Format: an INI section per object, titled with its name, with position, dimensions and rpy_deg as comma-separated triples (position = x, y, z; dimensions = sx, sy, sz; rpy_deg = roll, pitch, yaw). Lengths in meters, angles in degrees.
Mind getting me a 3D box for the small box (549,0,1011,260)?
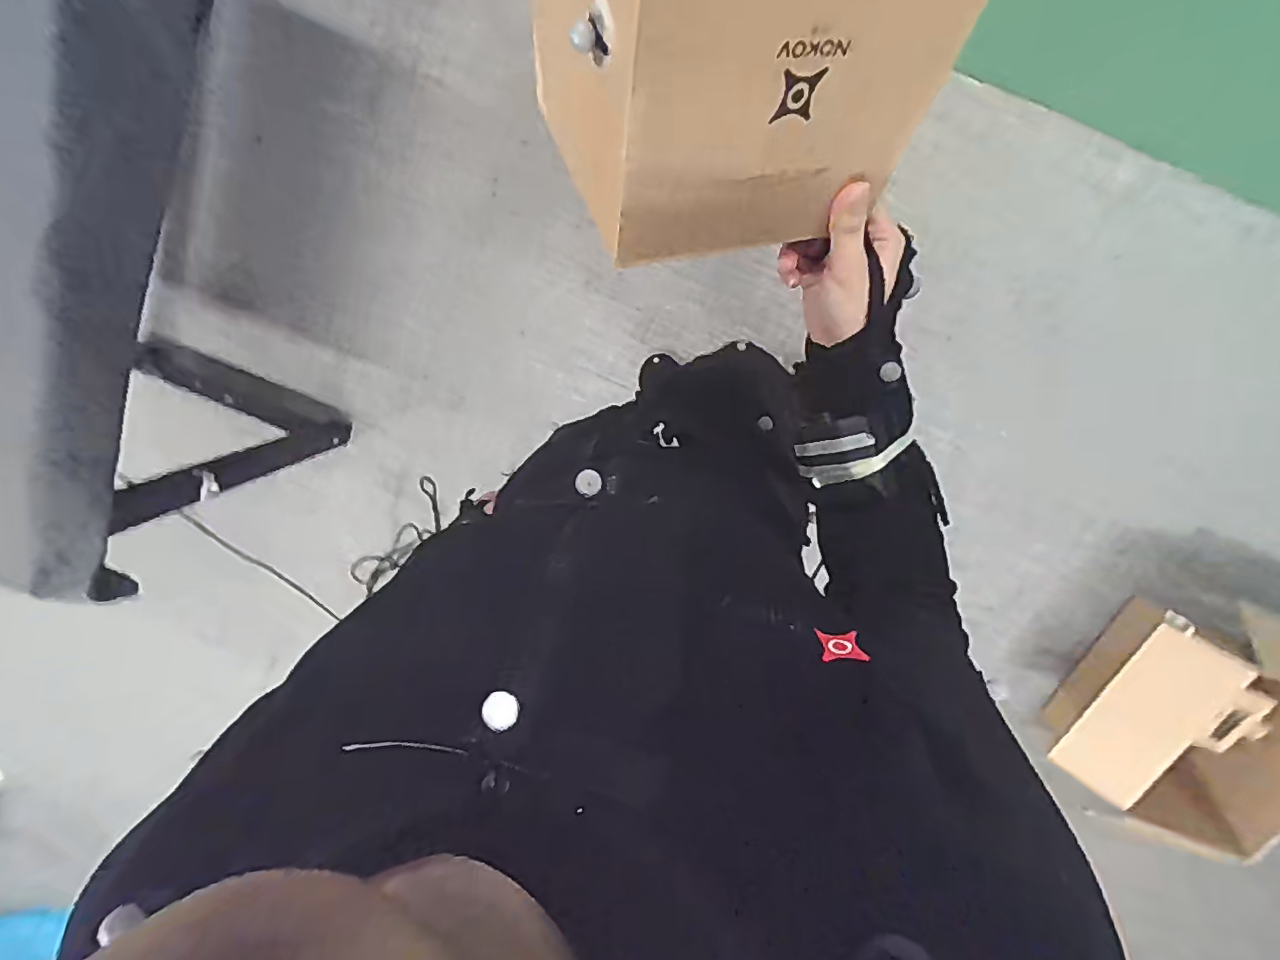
[small box]
position = 0.053, -0.246, 0.271
dimensions = 0.168, 0.179, 0.176
rpy_deg = -14, 66, -15
